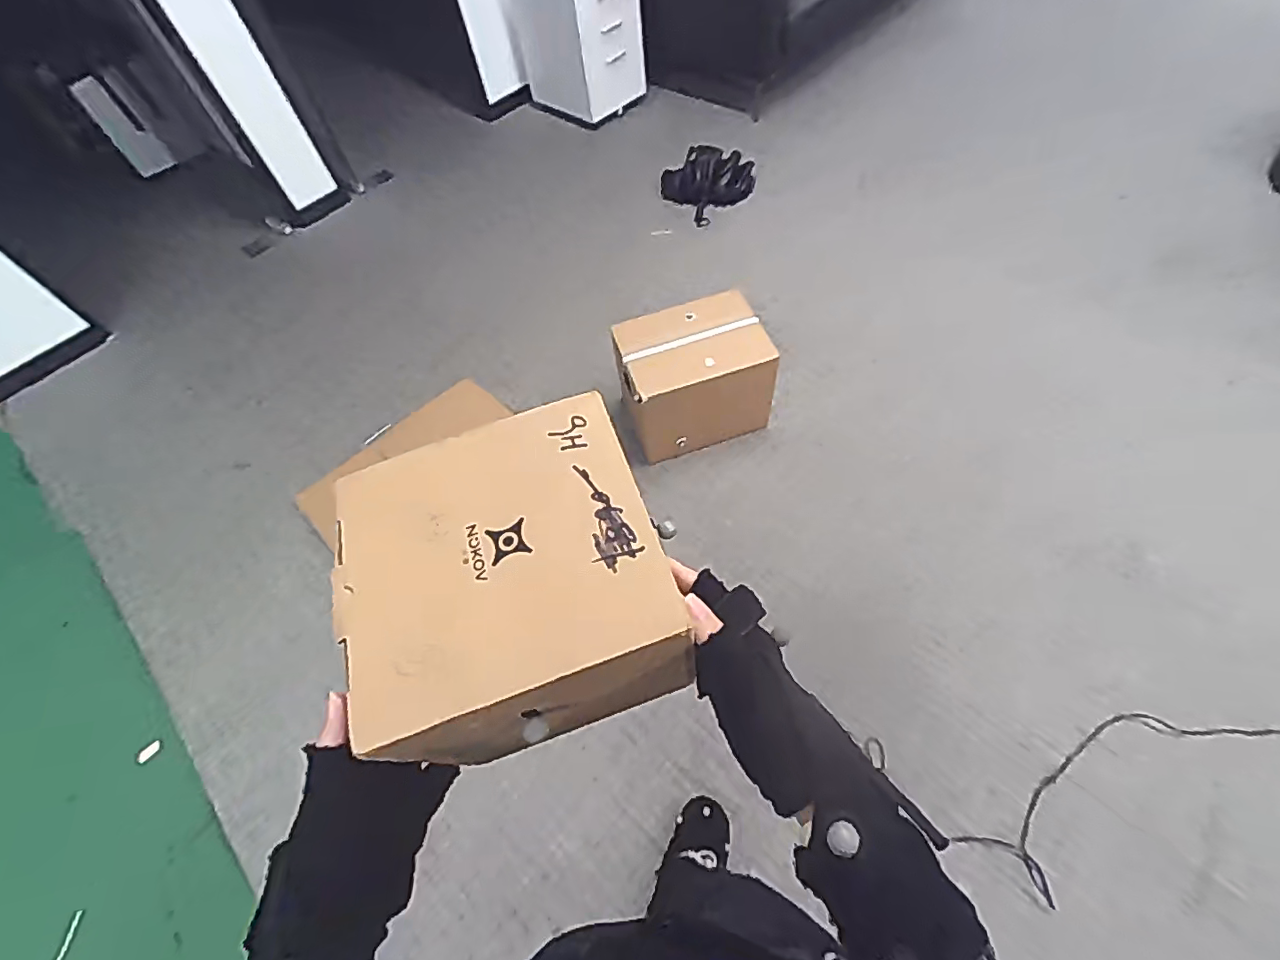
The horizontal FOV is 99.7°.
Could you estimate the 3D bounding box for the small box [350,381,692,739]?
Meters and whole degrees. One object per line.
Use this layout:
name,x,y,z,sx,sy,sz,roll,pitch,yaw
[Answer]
small box,-0.073,0.067,0.389,0.179,0.176,0.168,-22,59,-6
